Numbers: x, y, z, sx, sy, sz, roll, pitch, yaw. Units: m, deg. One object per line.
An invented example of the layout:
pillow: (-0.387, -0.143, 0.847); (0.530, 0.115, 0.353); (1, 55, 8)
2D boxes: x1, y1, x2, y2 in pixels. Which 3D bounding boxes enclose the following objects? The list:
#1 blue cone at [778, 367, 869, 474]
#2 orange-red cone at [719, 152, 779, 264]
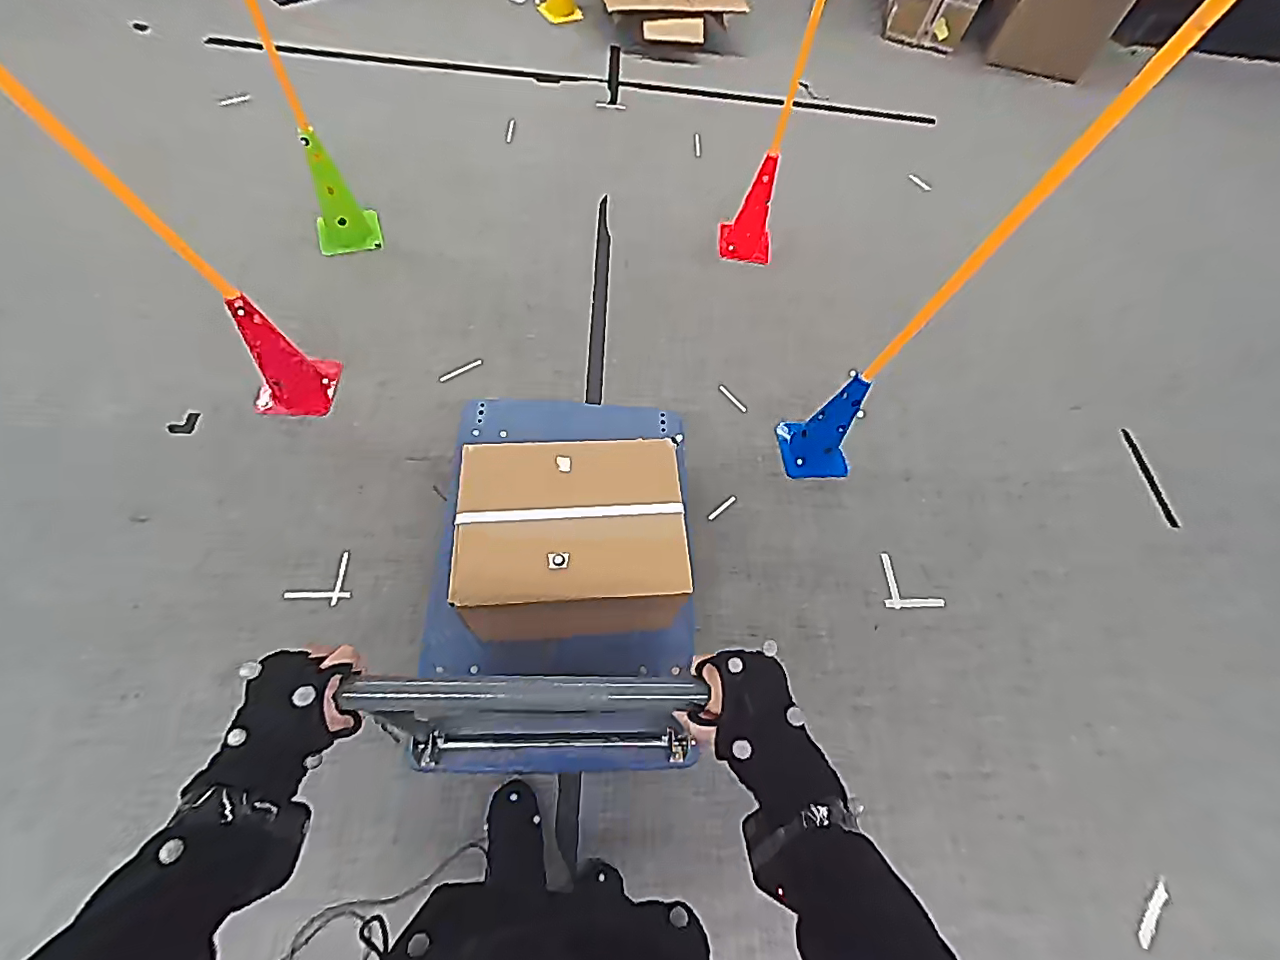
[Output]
blue cone: (0.555, -0.180, 1.547); (0.193, 0.380, 0.192); (-1, 62, -8)
orange-red cone: (0.426, -0.993, 1.939); (0.199, 0.360, 0.198); (9, 63, -3)
